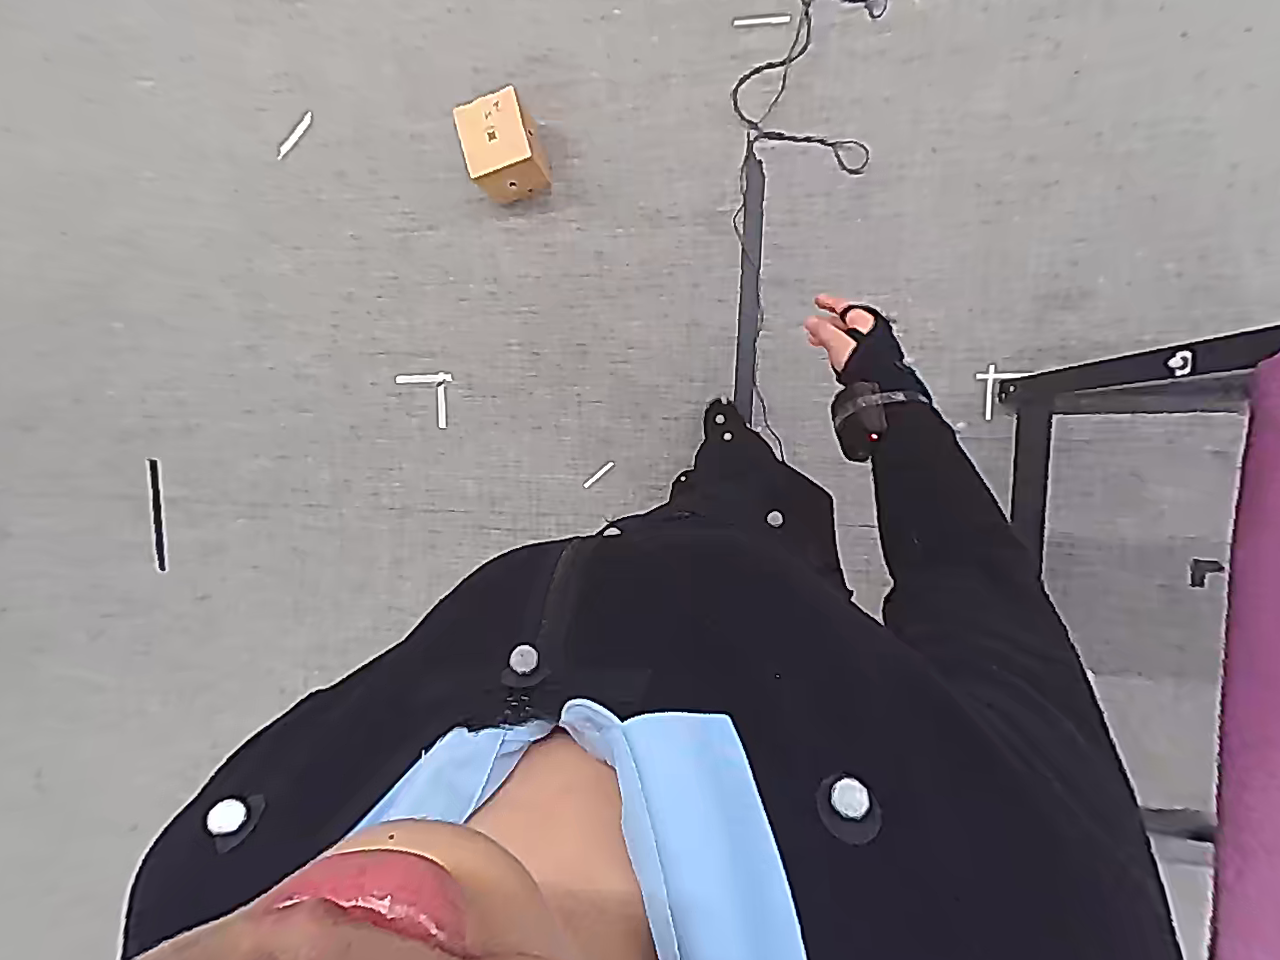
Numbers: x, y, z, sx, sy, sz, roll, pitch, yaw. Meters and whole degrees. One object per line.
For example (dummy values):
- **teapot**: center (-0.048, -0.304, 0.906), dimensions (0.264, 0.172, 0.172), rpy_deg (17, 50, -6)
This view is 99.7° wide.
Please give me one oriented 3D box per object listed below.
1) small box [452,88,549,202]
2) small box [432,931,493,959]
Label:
- **small box**: center (-0.349, -0.844, 1.388), dimensions (0.168, 0.176, 0.179), rpy_deg (-14, 92, 9)
- **small box**: center (-0.569, 1.522, 1.622), dimensions (0.179, 0.176, 0.168), rpy_deg (27, 98, 6)
